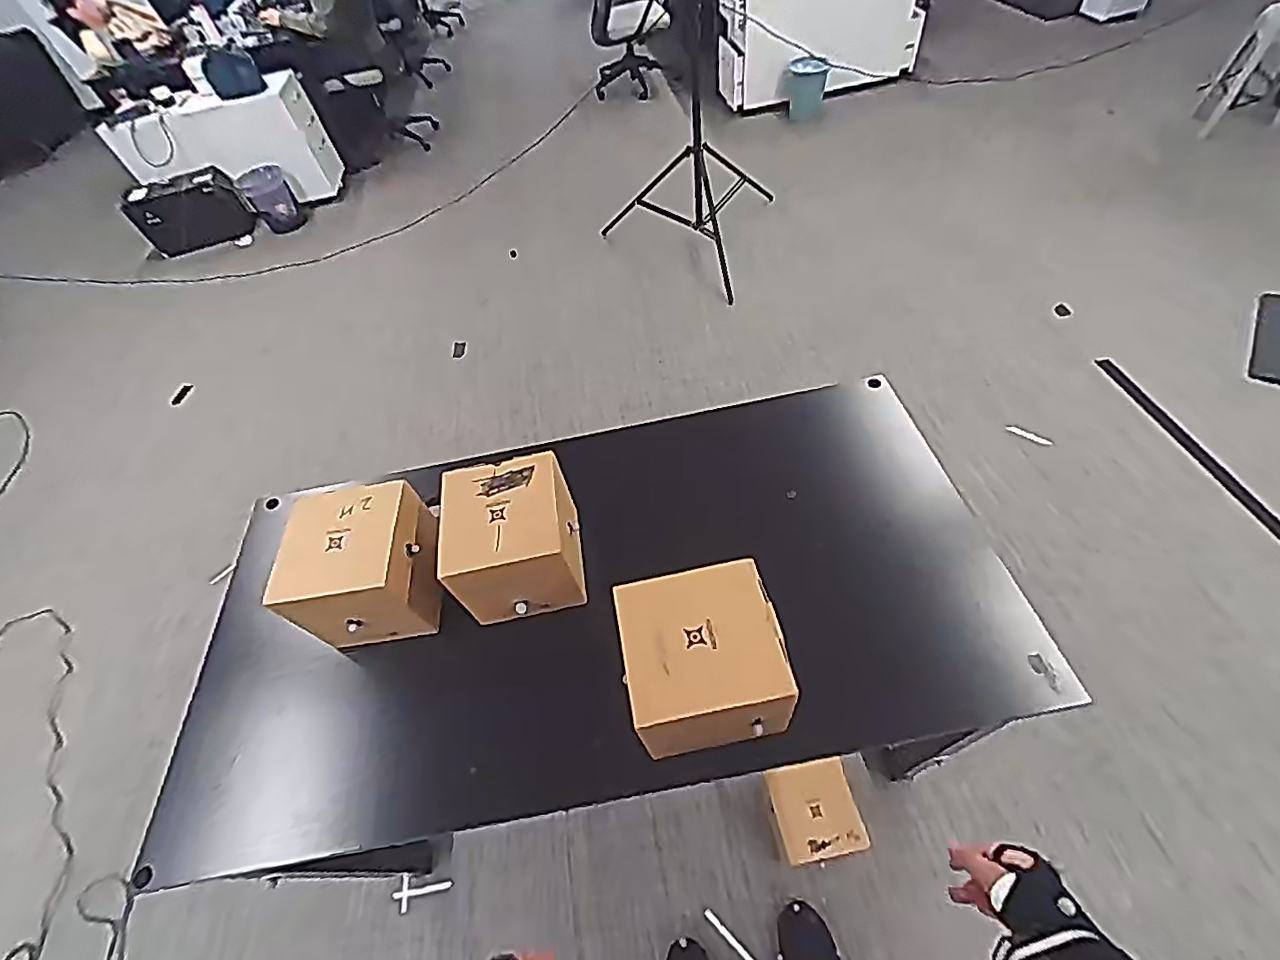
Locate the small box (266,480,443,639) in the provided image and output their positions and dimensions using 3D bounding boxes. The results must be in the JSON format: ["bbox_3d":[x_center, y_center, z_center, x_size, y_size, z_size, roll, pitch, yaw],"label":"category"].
[{"bbox_3d":[-0.406,0.127,0.813,0.168,0.176,0.179,-9,53,1],"label":"small box"}]

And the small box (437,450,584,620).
[{"bbox_3d":[-0.185,0.086,0.809,0.168,0.176,0.179,-12,54,0],"label":"small box"}]

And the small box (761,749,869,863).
[{"bbox_3d":[0.367,0.710,1.174,0.168,0.176,0.179,-13,53,0],"label":"small box"}]

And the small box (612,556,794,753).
[{"bbox_3d":[0.074,0.220,0.671,0.179,0.176,0.168,-13,51,0],"label":"small box"}]
